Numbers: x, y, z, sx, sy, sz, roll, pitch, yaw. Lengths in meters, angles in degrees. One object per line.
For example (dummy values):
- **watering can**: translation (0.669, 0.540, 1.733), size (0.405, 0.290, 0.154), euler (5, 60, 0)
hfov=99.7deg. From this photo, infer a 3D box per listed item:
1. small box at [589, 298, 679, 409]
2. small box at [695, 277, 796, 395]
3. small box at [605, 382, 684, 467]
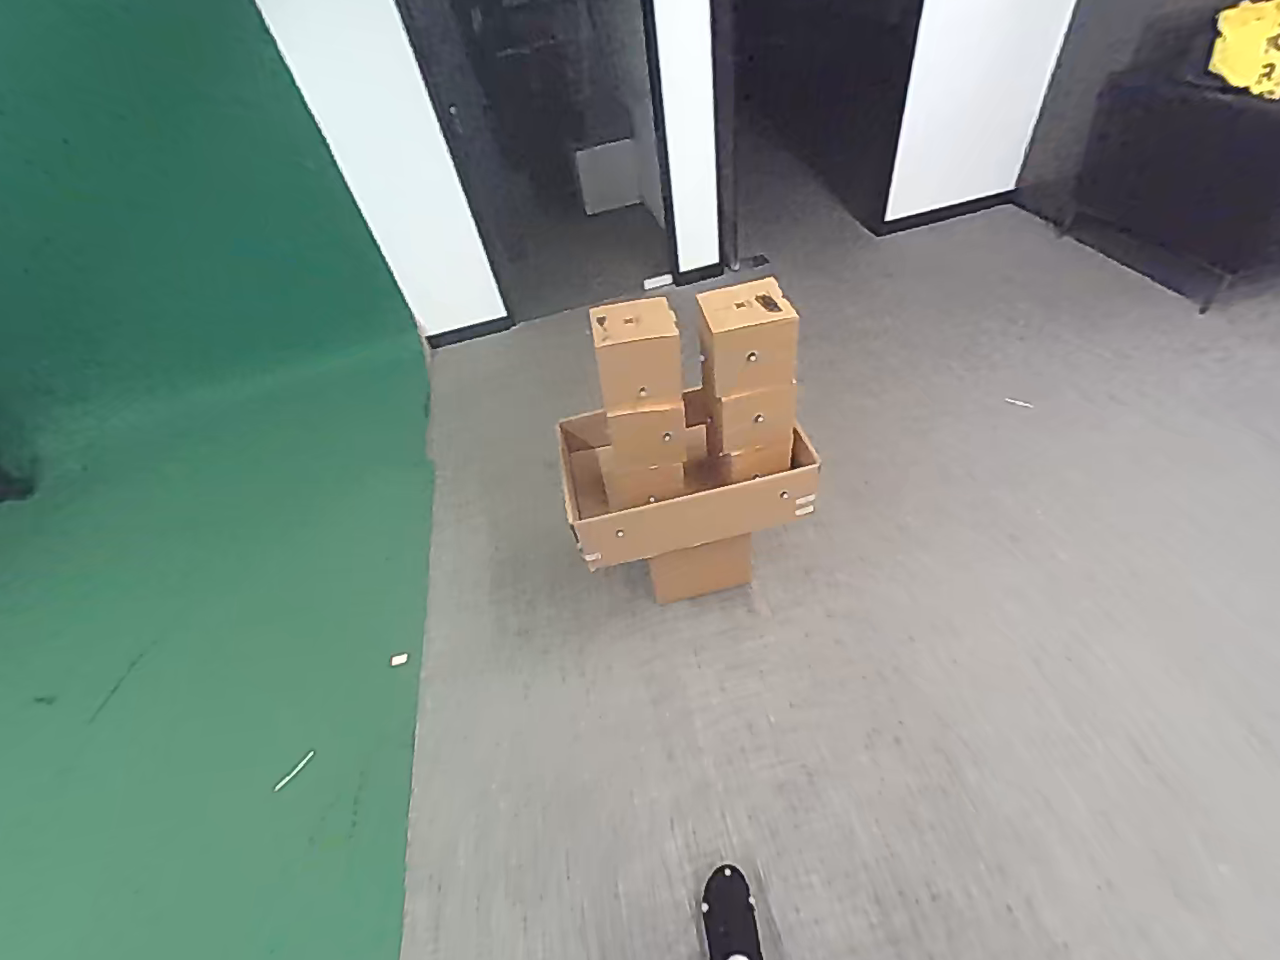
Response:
- **small box**: translation (-0.012, -0.279, 1.198), size (0.179, 0.176, 0.168), euler (-8, 45, -3)
- **small box**: translation (0.225, -0.311, 1.177), size (0.179, 0.176, 0.168), euler (-12, 47, 1)
- **small box**: translation (0.010, -0.151, 1.299), size (0.179, 0.176, 0.168), euler (-7, 45, 1)
